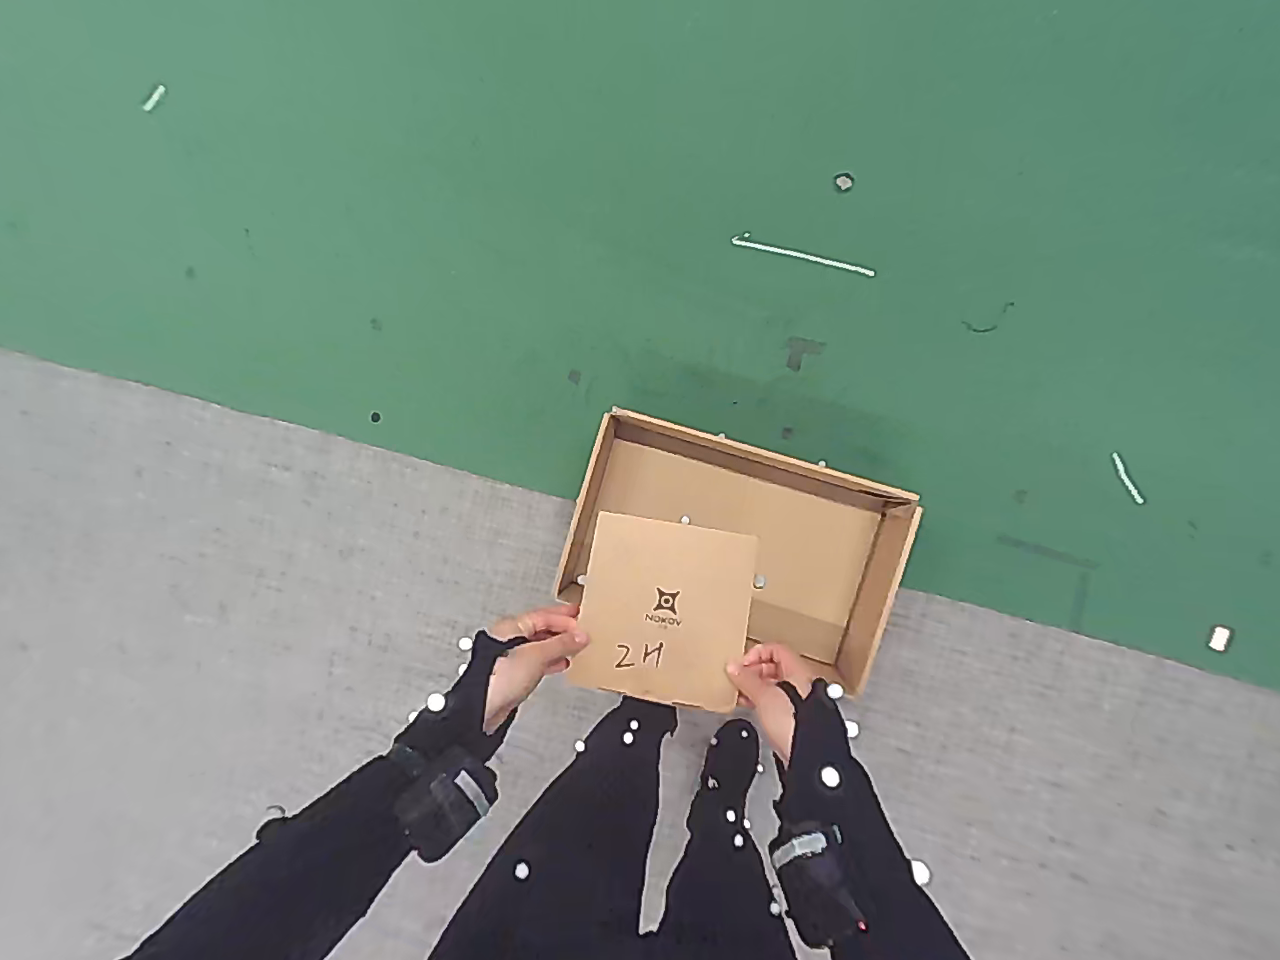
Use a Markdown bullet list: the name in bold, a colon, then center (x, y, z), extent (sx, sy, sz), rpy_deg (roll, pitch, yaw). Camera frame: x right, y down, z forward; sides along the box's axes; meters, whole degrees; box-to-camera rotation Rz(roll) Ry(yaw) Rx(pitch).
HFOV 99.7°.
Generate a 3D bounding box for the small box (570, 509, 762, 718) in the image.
- **small box**: center (0.033, 0.139, 0.608), extent (0.168, 0.176, 0.179), rpy_deg (10, 83, 7)
